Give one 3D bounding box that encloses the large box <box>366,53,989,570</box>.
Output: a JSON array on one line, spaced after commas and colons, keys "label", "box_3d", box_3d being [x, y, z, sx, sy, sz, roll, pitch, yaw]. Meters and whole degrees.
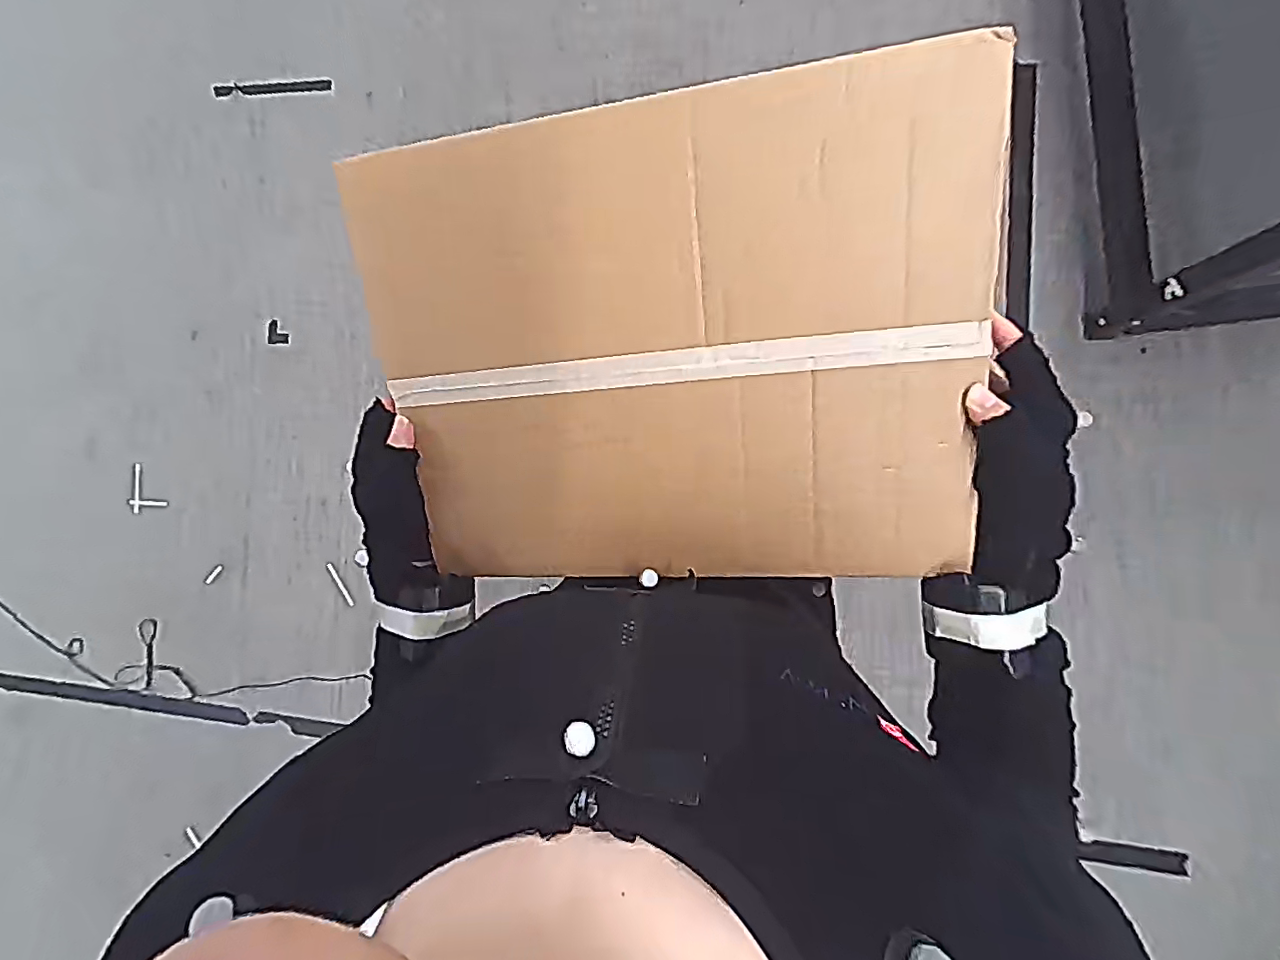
[{"label": "large box", "box_3d": [0.042, -0.124, 0.519, 0.408, 0.320, 0.320, -2, 109, 13]}]
